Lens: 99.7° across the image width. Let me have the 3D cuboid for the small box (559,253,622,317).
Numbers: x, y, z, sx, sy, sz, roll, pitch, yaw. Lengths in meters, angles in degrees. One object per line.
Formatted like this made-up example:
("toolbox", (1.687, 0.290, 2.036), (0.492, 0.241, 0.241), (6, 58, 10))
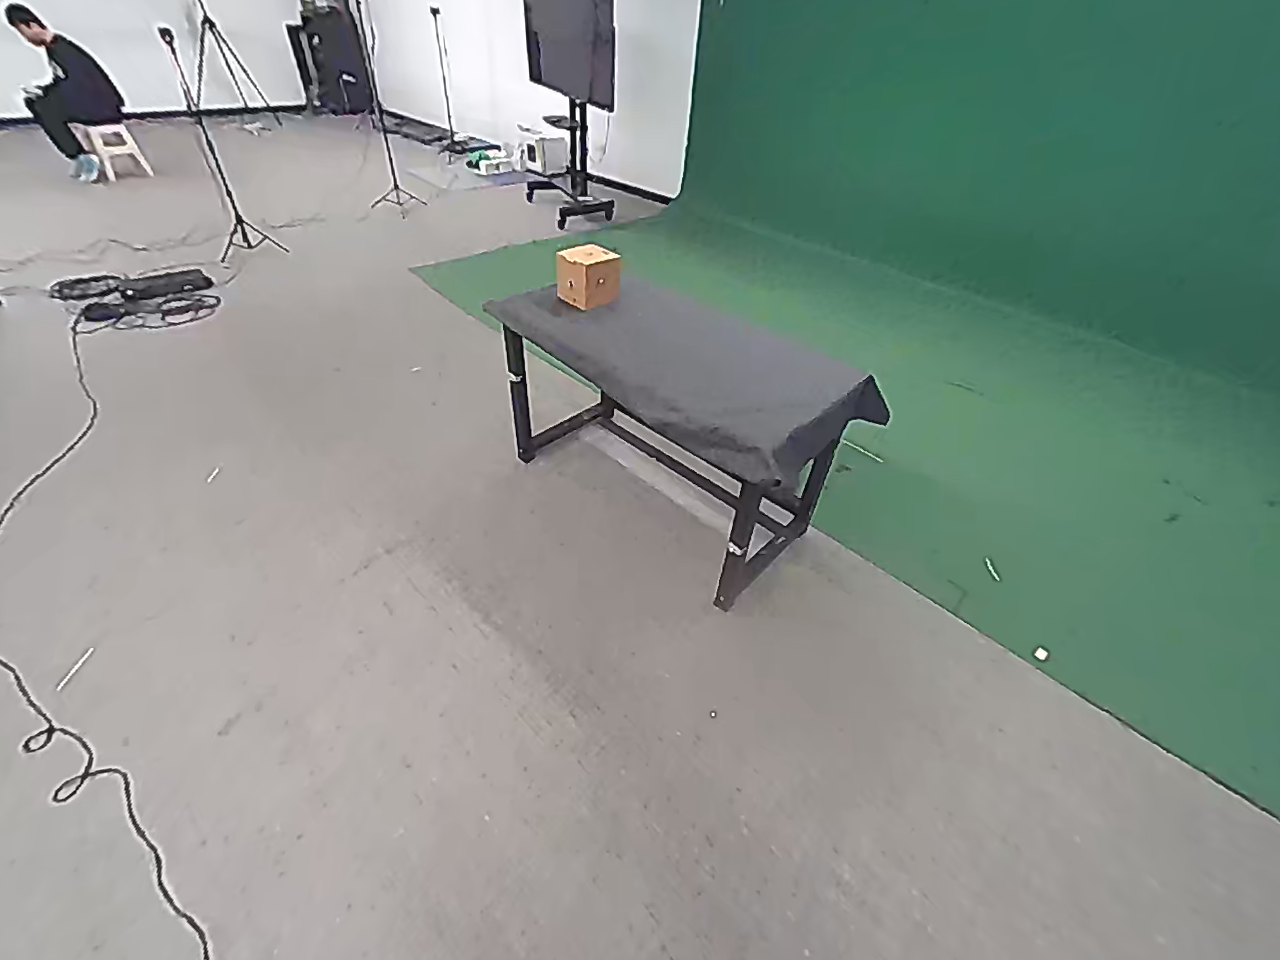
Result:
("small box", (-0.184, -0.735, 2.037), (0.179, 0.176, 0.168), (-31, 52, -34))
